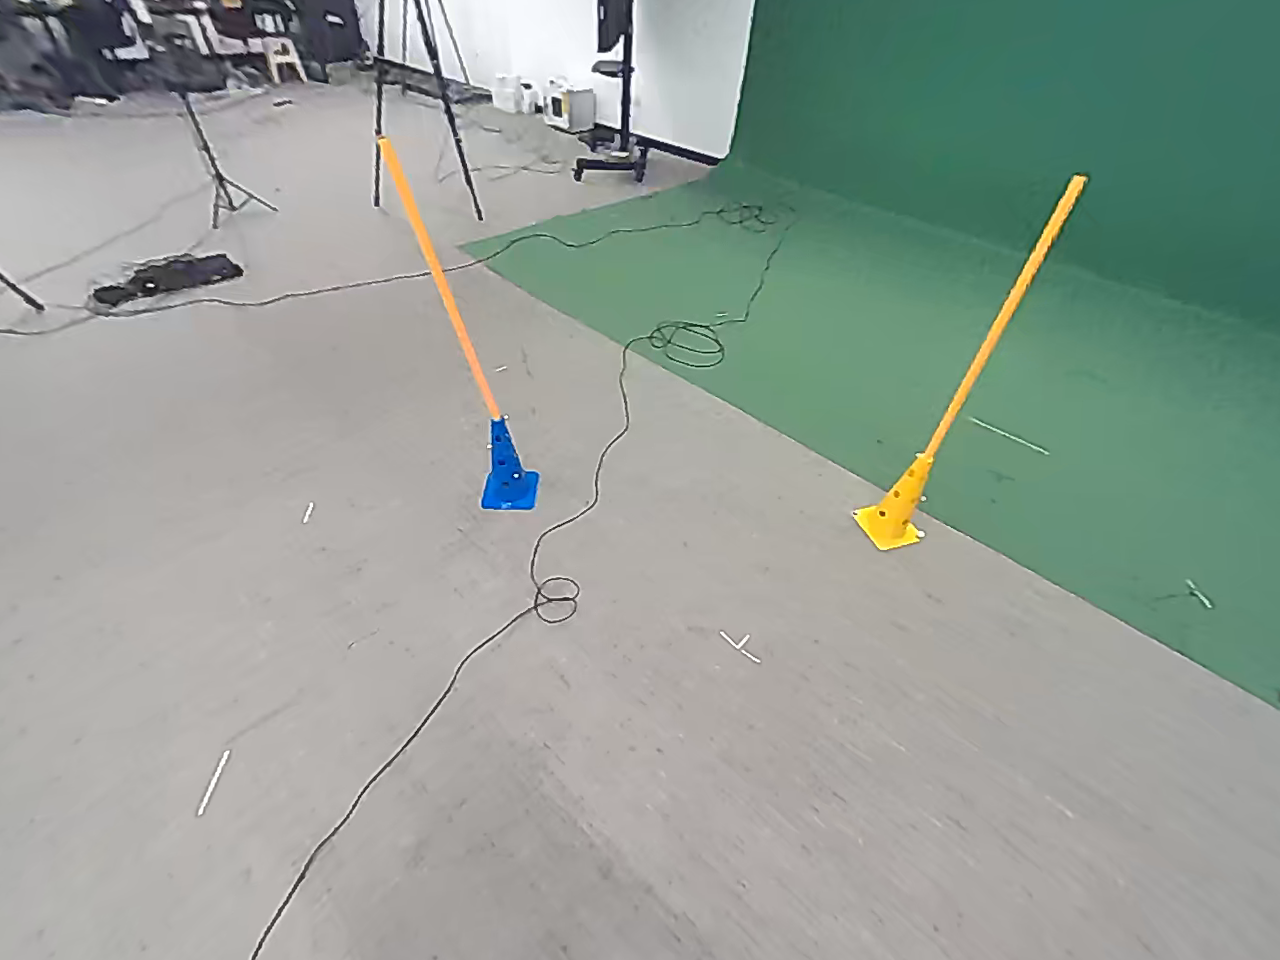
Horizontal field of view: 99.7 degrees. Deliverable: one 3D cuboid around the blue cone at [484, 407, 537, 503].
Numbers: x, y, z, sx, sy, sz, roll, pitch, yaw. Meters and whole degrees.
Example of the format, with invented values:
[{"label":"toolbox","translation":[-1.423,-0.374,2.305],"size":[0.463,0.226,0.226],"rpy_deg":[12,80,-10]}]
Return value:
[{"label":"blue cone","translation":[-0.484,-0.098,1.930],"size":[0.193,0.380,0.192],"rpy_deg":[0,46,-3]}]
